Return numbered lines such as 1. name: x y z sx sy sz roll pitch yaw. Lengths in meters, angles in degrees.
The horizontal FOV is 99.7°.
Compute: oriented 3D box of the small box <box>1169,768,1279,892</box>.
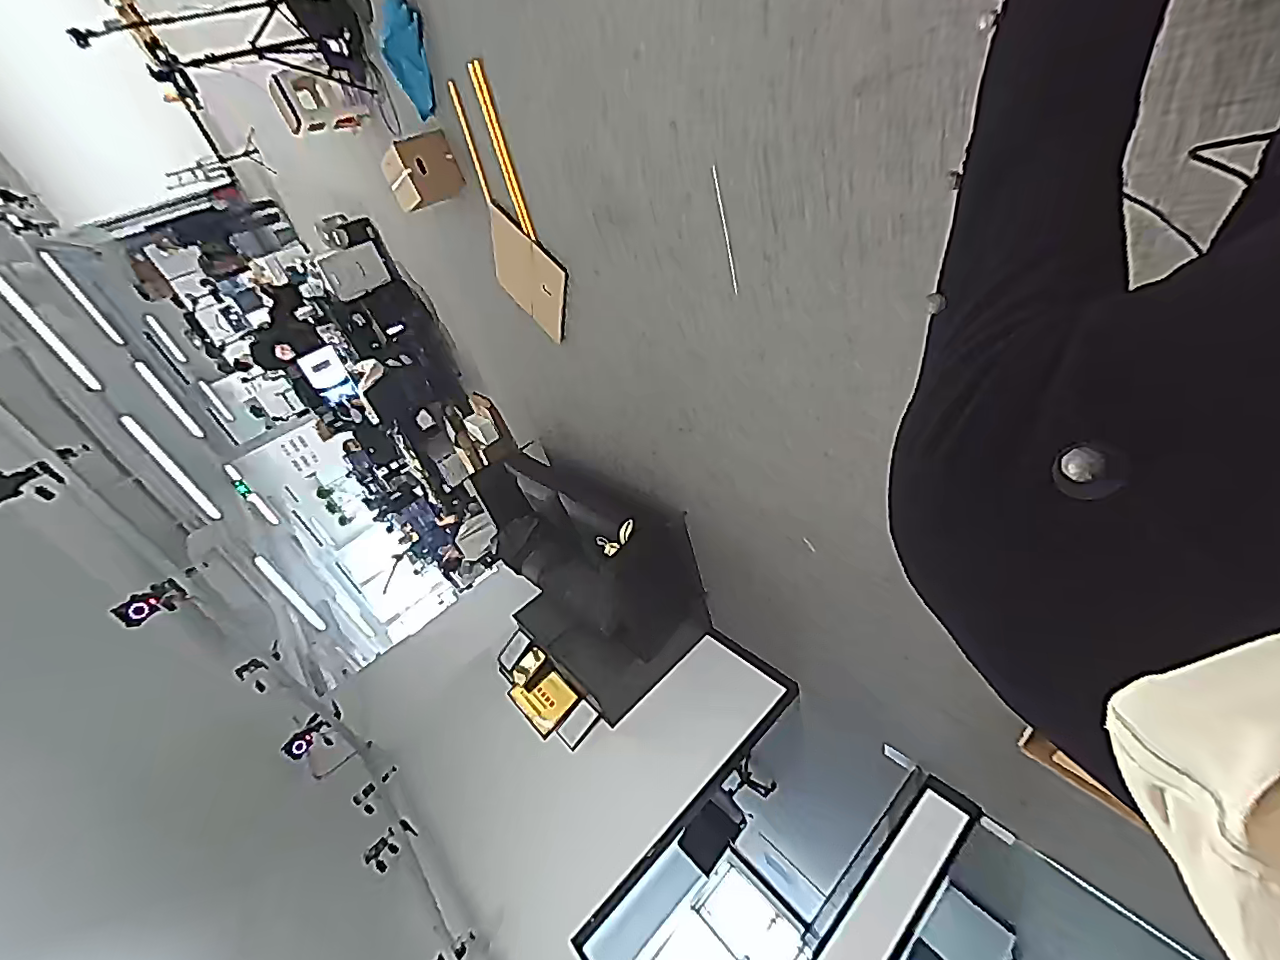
1. small box: 1.504 0.878 1.365 0.179 0.176 0.168 28 145 42
